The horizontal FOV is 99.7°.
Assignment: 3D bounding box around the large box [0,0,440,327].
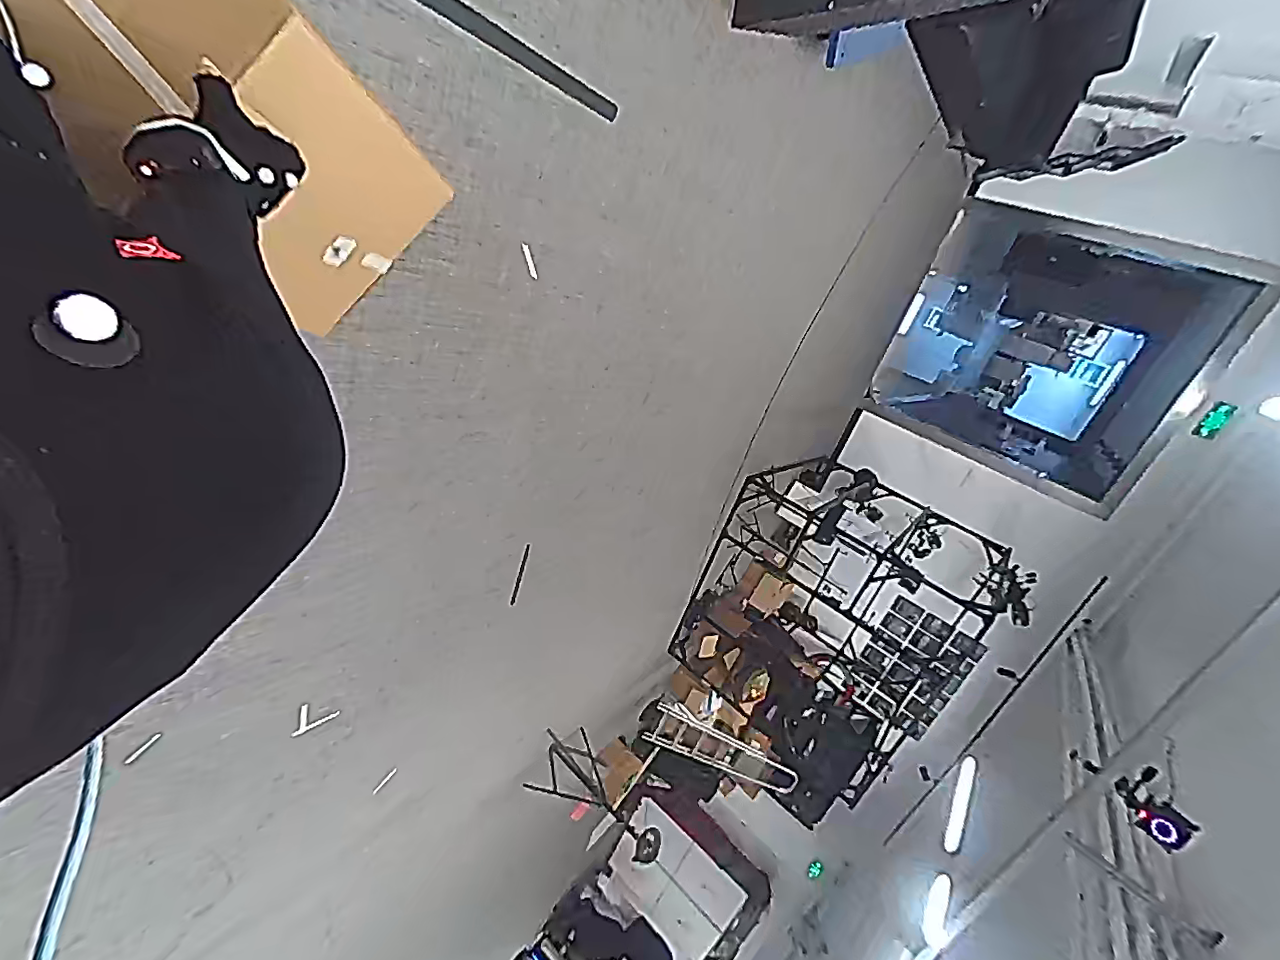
[{"bbox_3d":[-0.563,-0.480,0.719,0.320,0.408,0.320,-46,171,6],"label":"large box"}]
